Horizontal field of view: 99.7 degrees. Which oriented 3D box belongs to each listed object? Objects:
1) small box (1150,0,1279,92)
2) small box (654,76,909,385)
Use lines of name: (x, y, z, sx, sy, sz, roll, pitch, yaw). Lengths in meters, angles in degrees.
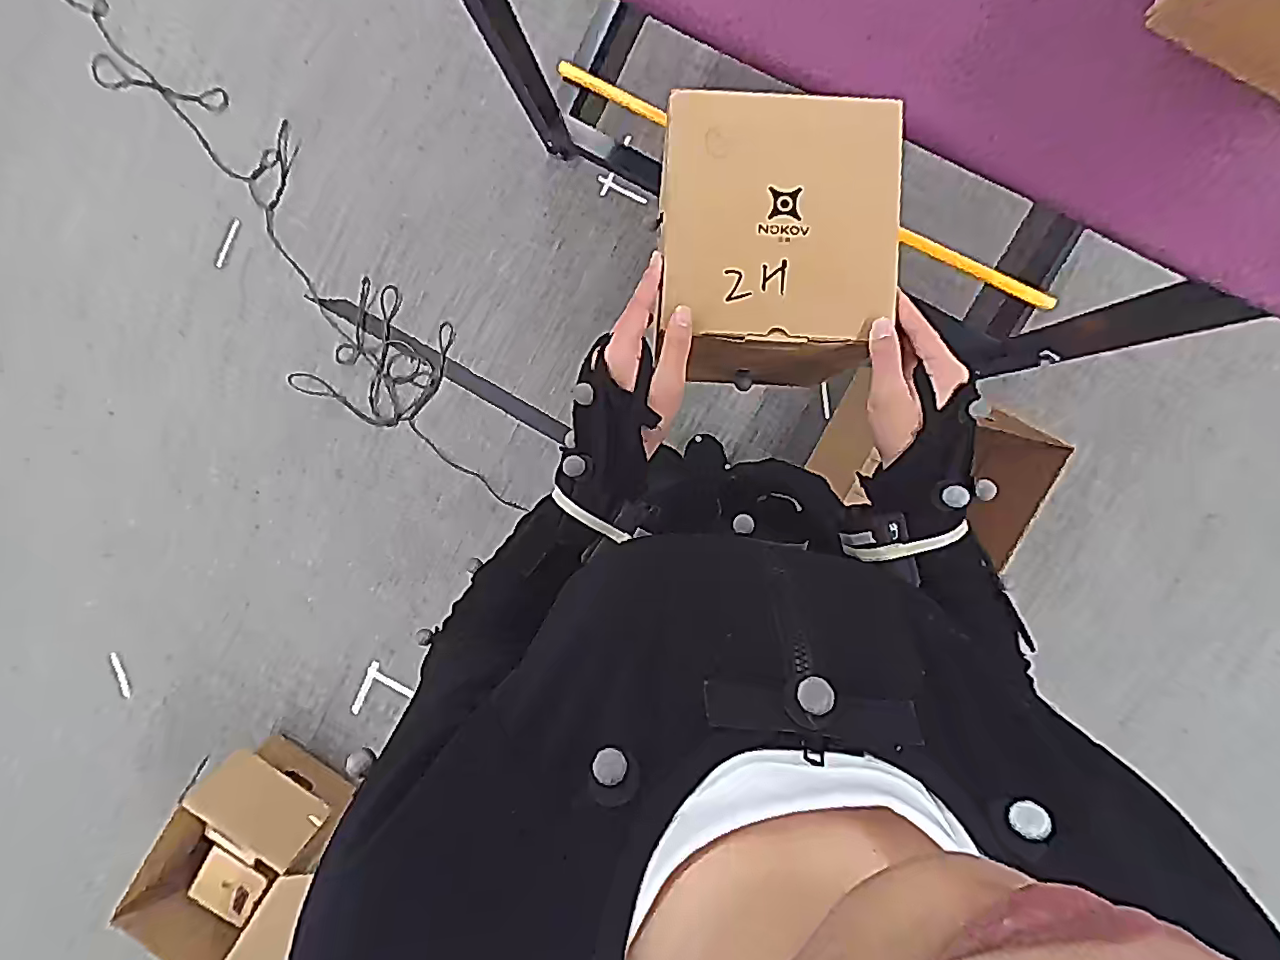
small box: (0.617, -0.480, 0.456, 0.179, 0.176, 0.168, 34, 97, 4)
small box: (0.100, -0.188, 0.456, 0.168, 0.176, 0.179, 4, 89, -1)
